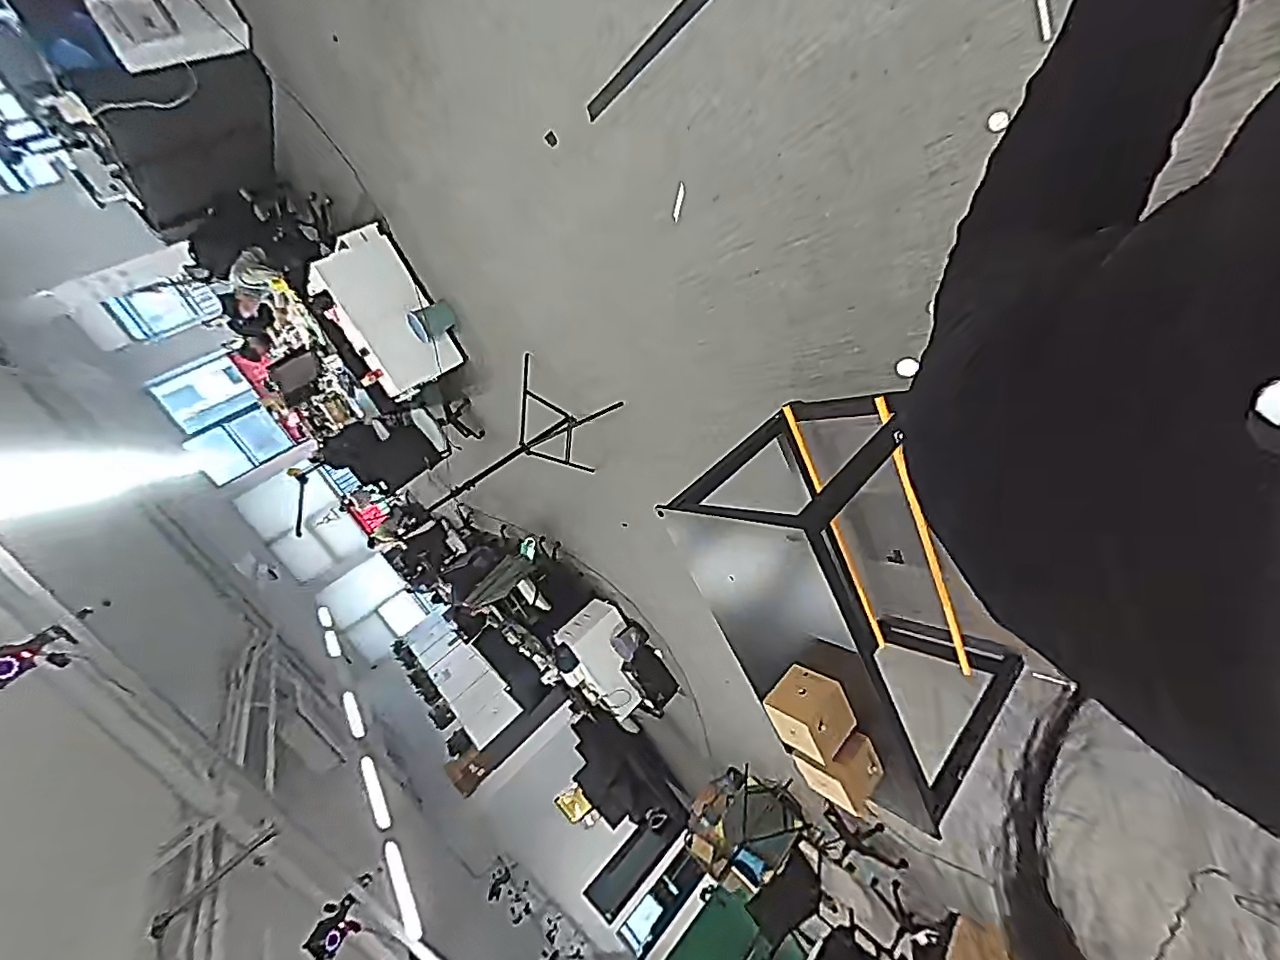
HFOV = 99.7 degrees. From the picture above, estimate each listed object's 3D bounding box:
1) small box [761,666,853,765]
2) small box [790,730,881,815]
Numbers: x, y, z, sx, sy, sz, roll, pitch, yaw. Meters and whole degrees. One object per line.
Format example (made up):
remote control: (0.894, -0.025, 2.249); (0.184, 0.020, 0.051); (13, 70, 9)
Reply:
small box: (0.495, 0.685, 1.596); (0.168, 0.176, 0.179); (7, 130, 56)
small box: (0.602, 0.867, 1.660); (0.179, 0.176, 0.168); (3, 128, 56)
